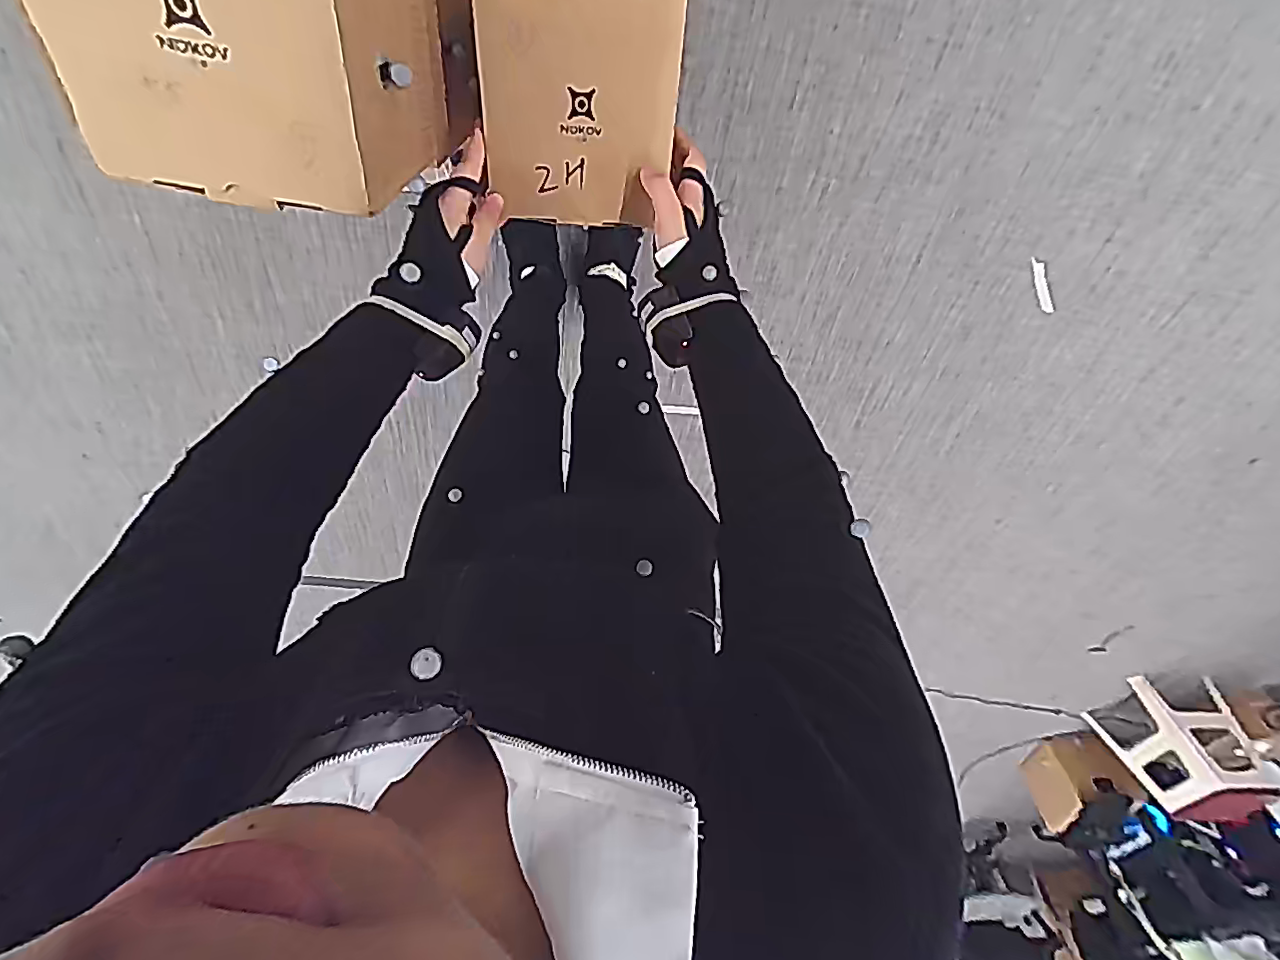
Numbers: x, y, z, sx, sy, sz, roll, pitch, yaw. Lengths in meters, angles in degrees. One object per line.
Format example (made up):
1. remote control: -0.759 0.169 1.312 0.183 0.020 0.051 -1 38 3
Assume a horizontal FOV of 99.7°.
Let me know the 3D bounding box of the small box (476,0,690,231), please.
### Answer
1. small box: -0.056 -0.361 0.517 0.168 0.176 0.179 1 132 -6

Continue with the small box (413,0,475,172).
1. small box: -0.249 -0.399 0.474 0.168 0.176 0.179 5 133 -5

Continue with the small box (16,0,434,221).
1. small box: -0.242 -0.296 0.346 0.168 0.176 0.179 6 133 -6
